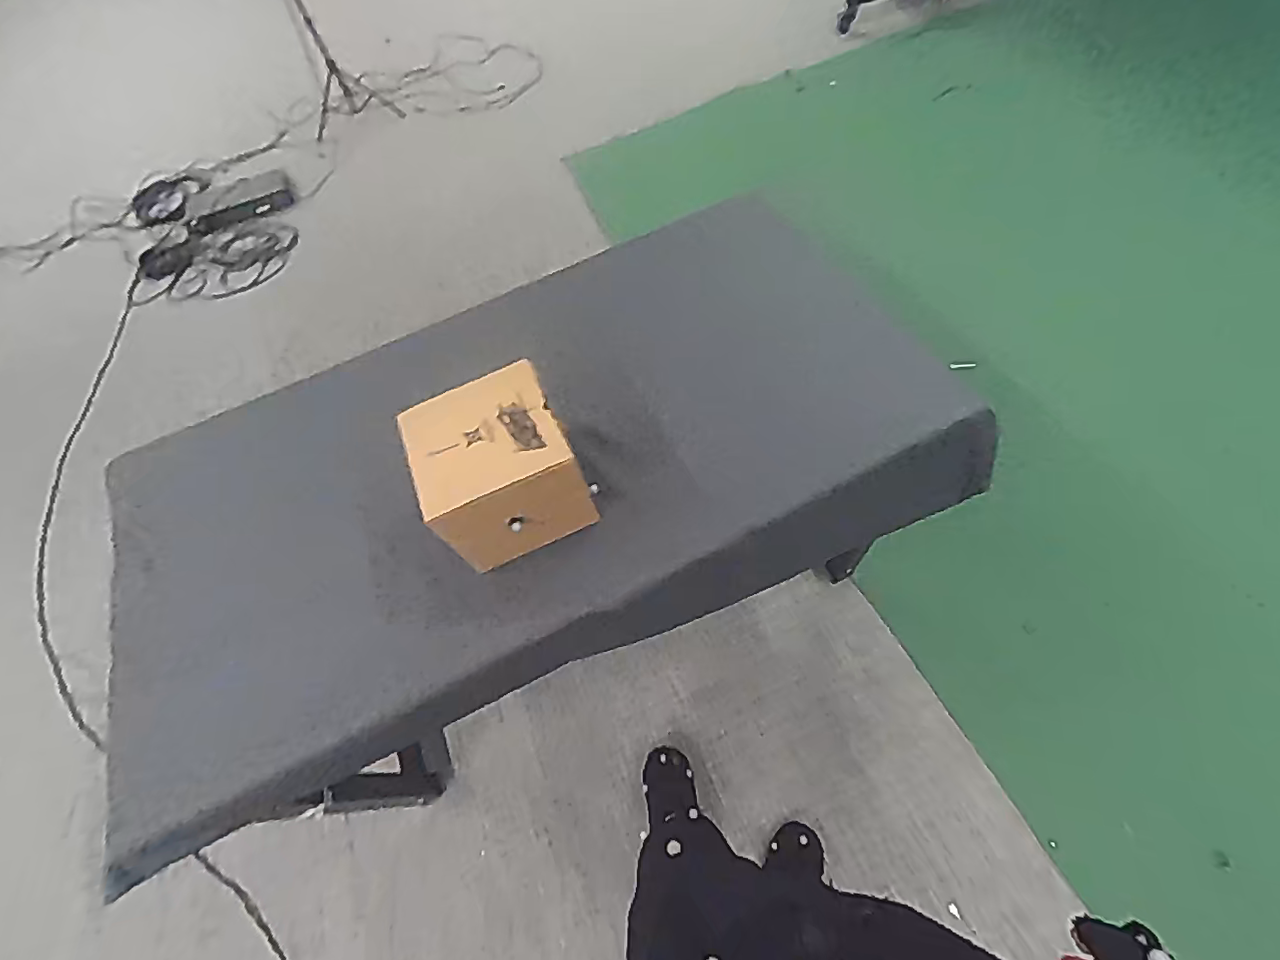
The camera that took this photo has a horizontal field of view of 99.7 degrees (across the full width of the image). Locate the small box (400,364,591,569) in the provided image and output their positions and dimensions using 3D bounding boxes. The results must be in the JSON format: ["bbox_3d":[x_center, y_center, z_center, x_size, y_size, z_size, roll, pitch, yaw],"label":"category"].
[{"bbox_3d":[-0.173,-0.011,0.697,0.179,0.176,0.168,-24,61,-6],"label":"small box"}]
